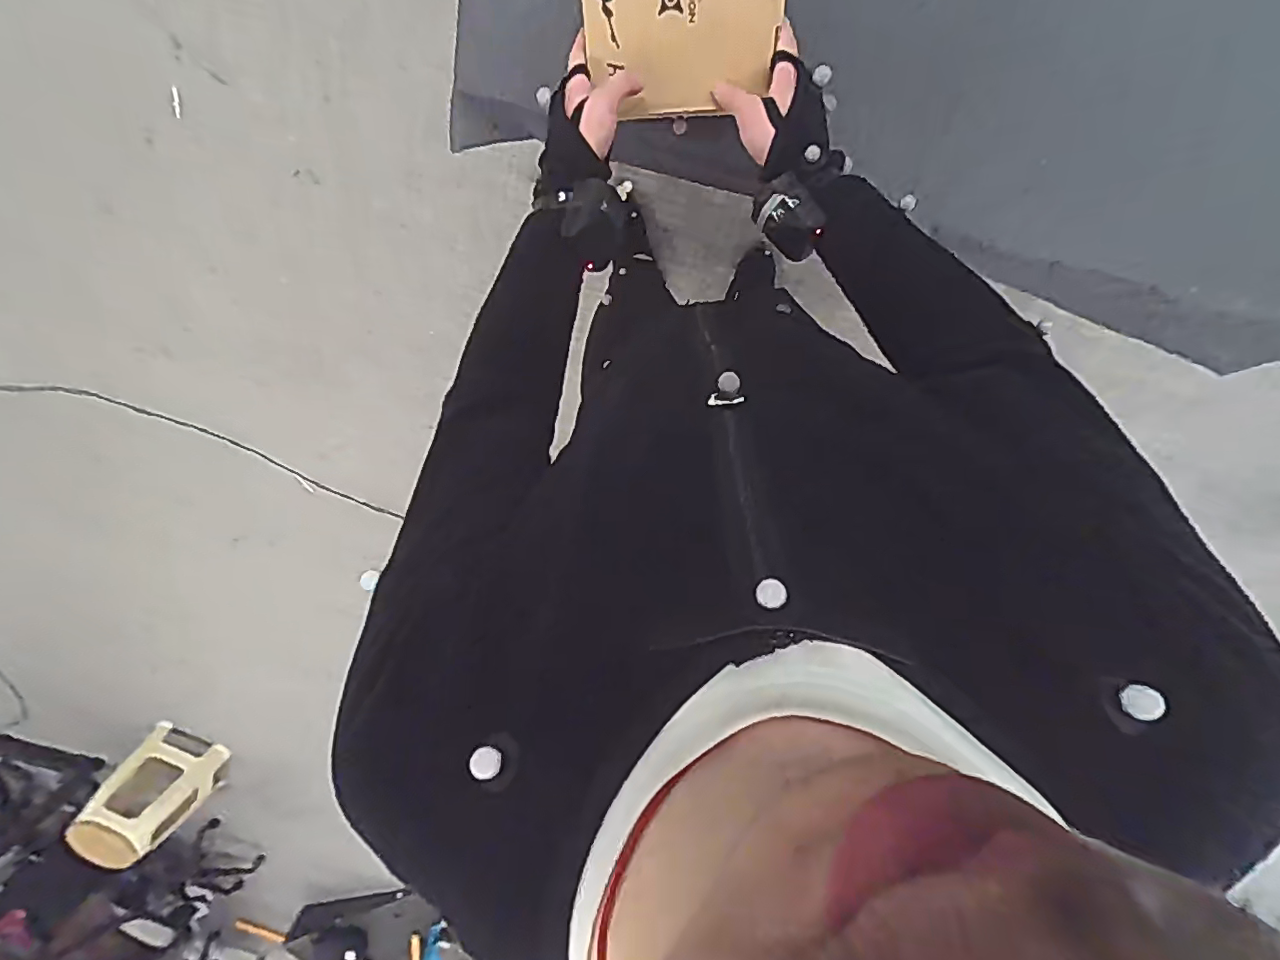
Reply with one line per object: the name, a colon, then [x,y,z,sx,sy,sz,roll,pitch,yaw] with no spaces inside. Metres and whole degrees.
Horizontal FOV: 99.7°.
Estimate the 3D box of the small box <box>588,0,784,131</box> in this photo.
small box: [0.042,-0.455,0.548,0.179,0.176,0.168,-1,122,3]
